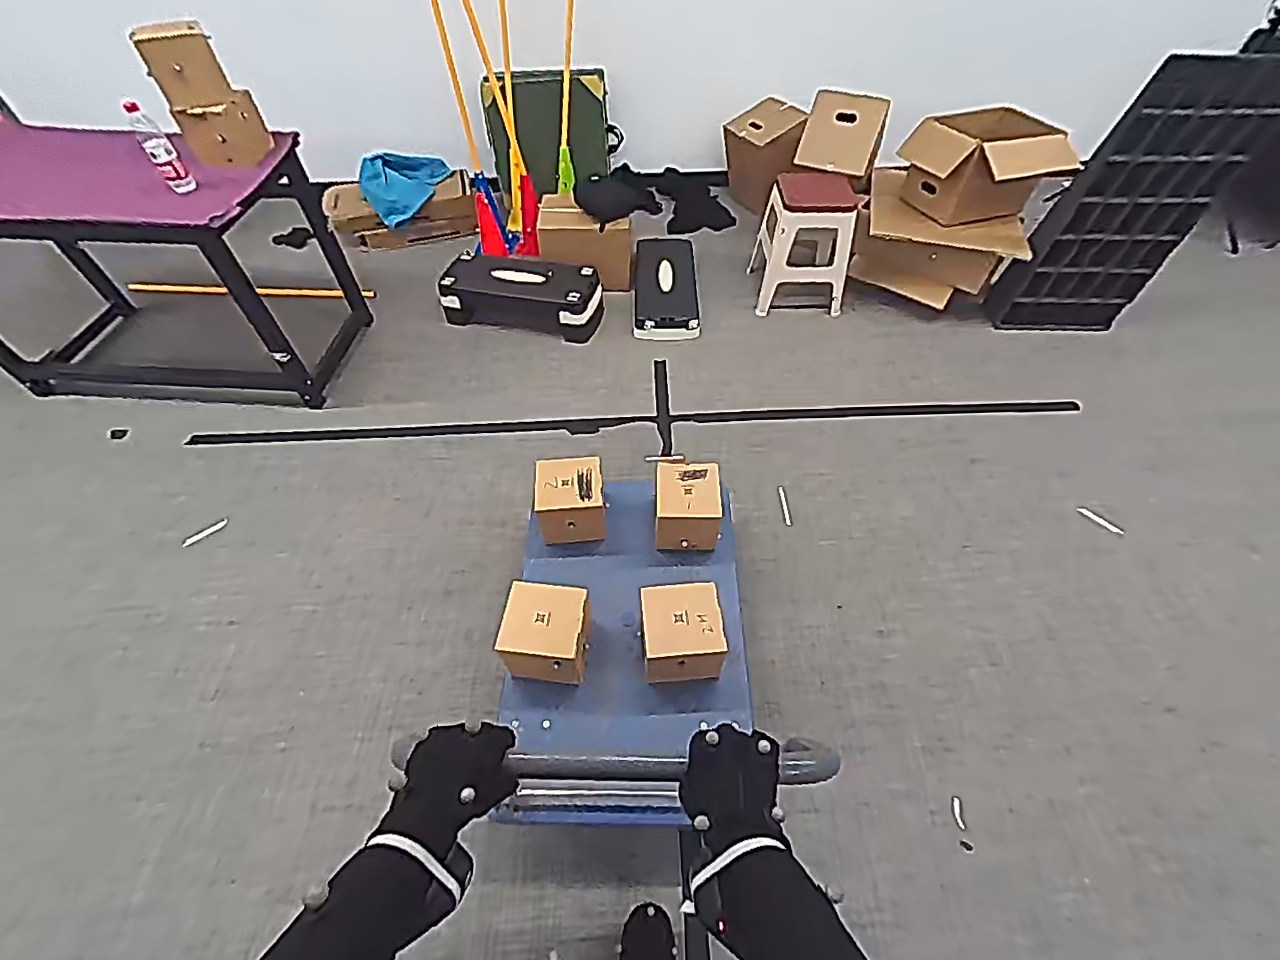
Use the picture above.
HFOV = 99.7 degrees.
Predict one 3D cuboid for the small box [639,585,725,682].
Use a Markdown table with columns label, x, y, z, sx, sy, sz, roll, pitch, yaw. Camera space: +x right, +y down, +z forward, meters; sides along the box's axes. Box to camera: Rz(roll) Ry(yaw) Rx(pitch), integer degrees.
| label | x | y | z | sx | sy | sz | roll | pitch | yaw |
| --- | --- | --- | --- | --- | --- | --- | --- | --- | --- |
| small box | 0.092 | 0.360 | 1.255 | 0.179 | 0.176 | 0.168 | -3 | 53 | -2 |

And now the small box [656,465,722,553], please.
| label | x | y | z | sx | sy | sz | roll | pitch | yaw |
| --- | --- | --- | --- | --- | --- | --- | --- | --- | --- |
| small box | 0.127 | 0.080 | 1.471 | 0.168 | 0.176 | 0.179 | 1 | 54 | 1 |

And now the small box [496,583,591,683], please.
| label | x | y | z | sx | sy | sz | roll | pitch | yaw |
| --- | --- | --- | --- | --- | --- | --- | --- | --- | --- |
| small box | -0.215 | 0.358 | 1.257 | 0.179 | 0.176 | 0.168 | 6 | 52 | 3 |
